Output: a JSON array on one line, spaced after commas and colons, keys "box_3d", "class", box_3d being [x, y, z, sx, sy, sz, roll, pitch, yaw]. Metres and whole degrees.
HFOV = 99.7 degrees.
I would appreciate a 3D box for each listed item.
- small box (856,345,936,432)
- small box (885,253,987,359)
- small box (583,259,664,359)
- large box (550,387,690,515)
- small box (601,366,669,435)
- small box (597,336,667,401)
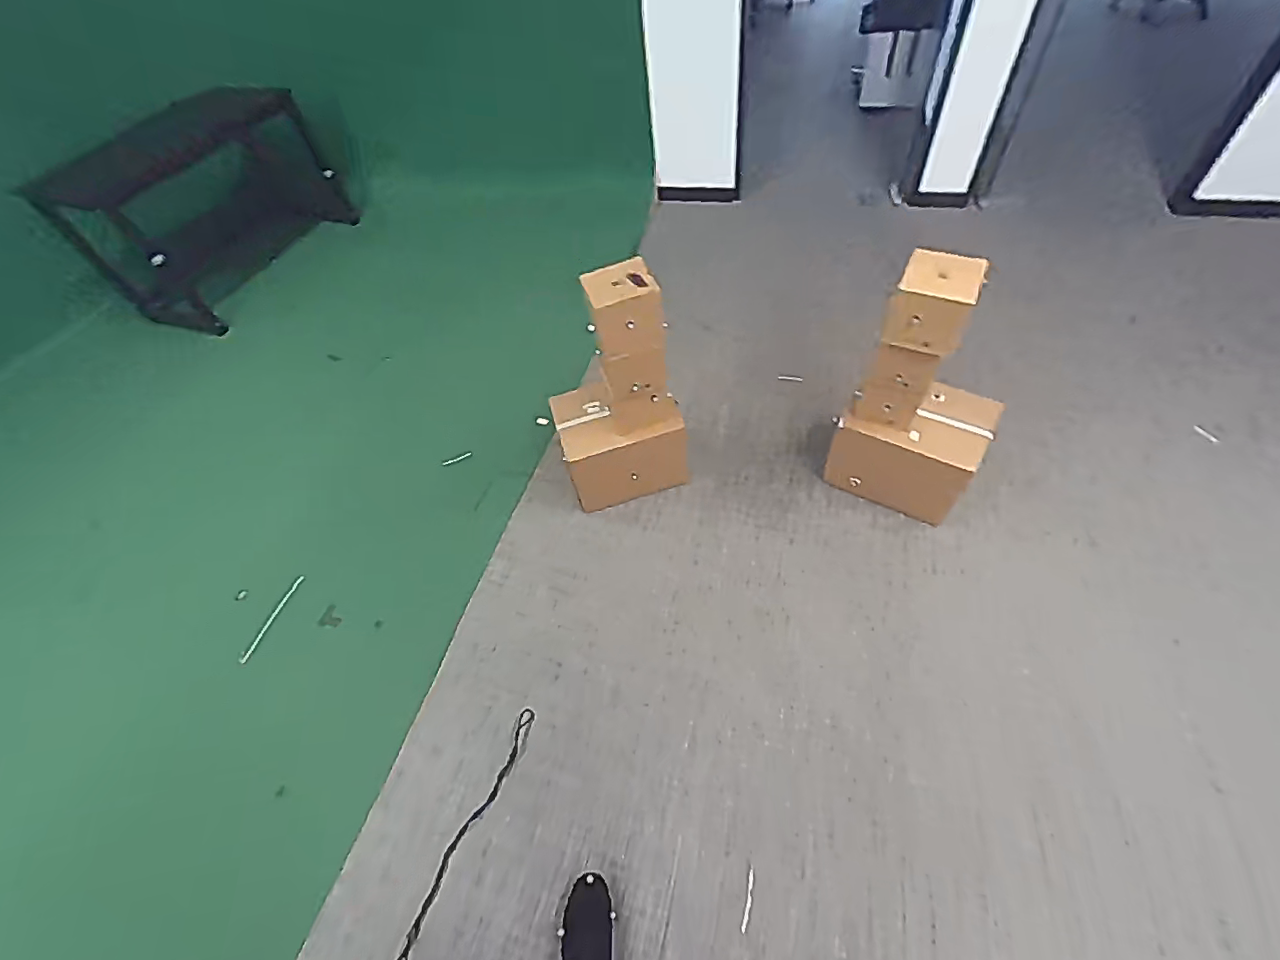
[{"box_3d": [0.764, -0.272, 1.626, 0.168, 0.176, 0.179, 19, 59, 19], "class": "small box"}, {"box_3d": [0.726, -0.429, 1.340, 0.168, 0.176, 0.179, 21, 59, 21], "class": "small box"}, {"box_3d": [-0.038, -0.458, 1.459, 0.179, 0.176, 0.168, -19, 53, -4], "class": "small box"}, {"box_3d": [-0.064, -0.128, 1.934, 0.408, 0.320, 0.320, -18, 52, -5], "class": "large box"}, {"box_3d": [-0.012, -0.273, 1.727, 0.179, 0.176, 0.168, -18, 53, -6], "class": "small box"}, {"box_3d": [-0.025, -0.364, 1.592, 0.168, 0.176, 0.179, -17, 54, -4], "class": "small box"}]
